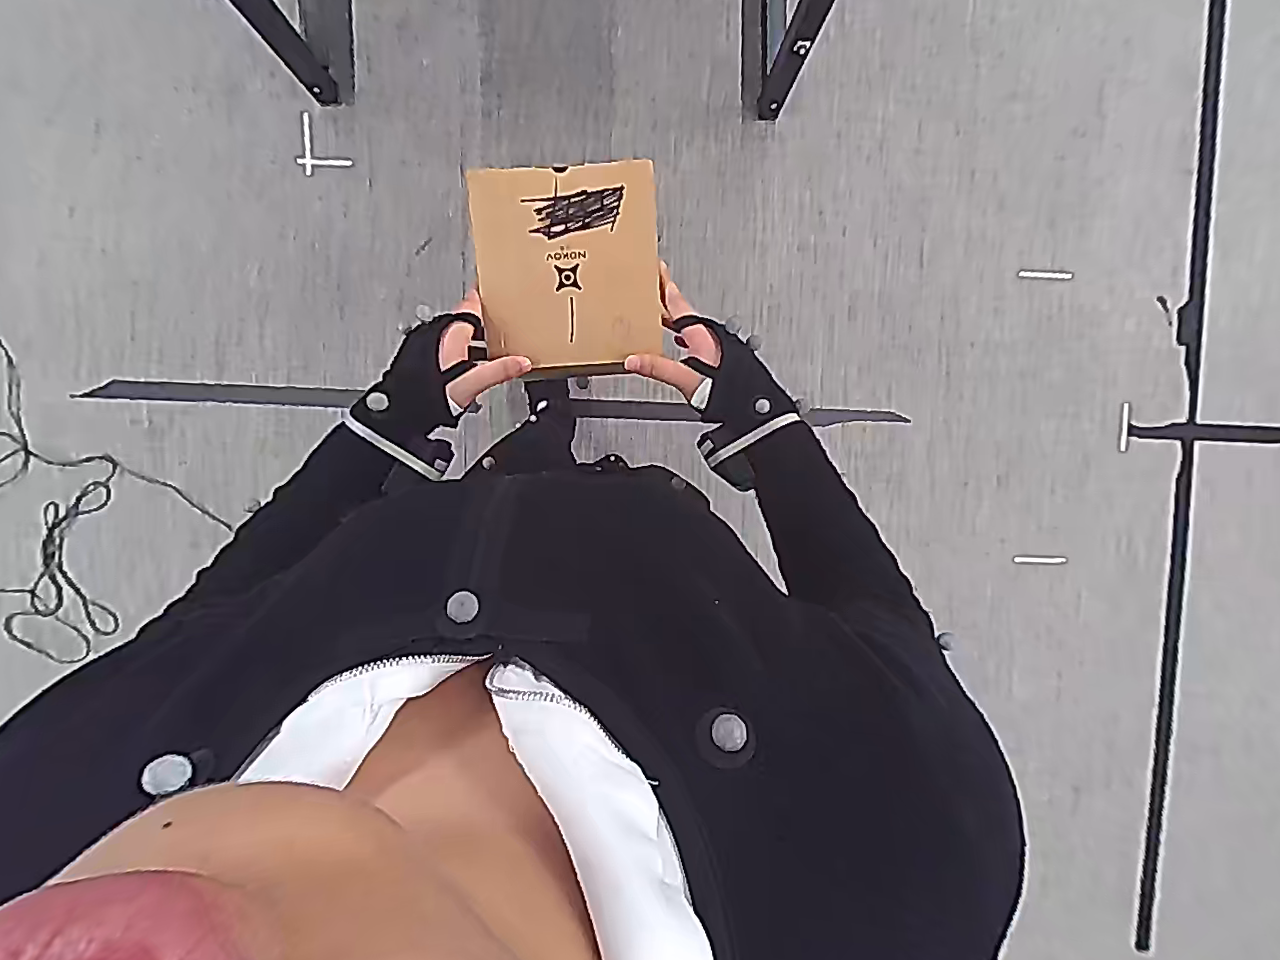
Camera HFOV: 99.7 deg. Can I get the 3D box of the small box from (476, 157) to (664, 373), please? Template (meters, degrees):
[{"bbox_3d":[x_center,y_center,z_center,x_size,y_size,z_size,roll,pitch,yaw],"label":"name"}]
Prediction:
[{"bbox_3d":[-0.064,-0.211,0.573,0.168,0.176,0.179,-3,98,0],"label":"small box"}]
